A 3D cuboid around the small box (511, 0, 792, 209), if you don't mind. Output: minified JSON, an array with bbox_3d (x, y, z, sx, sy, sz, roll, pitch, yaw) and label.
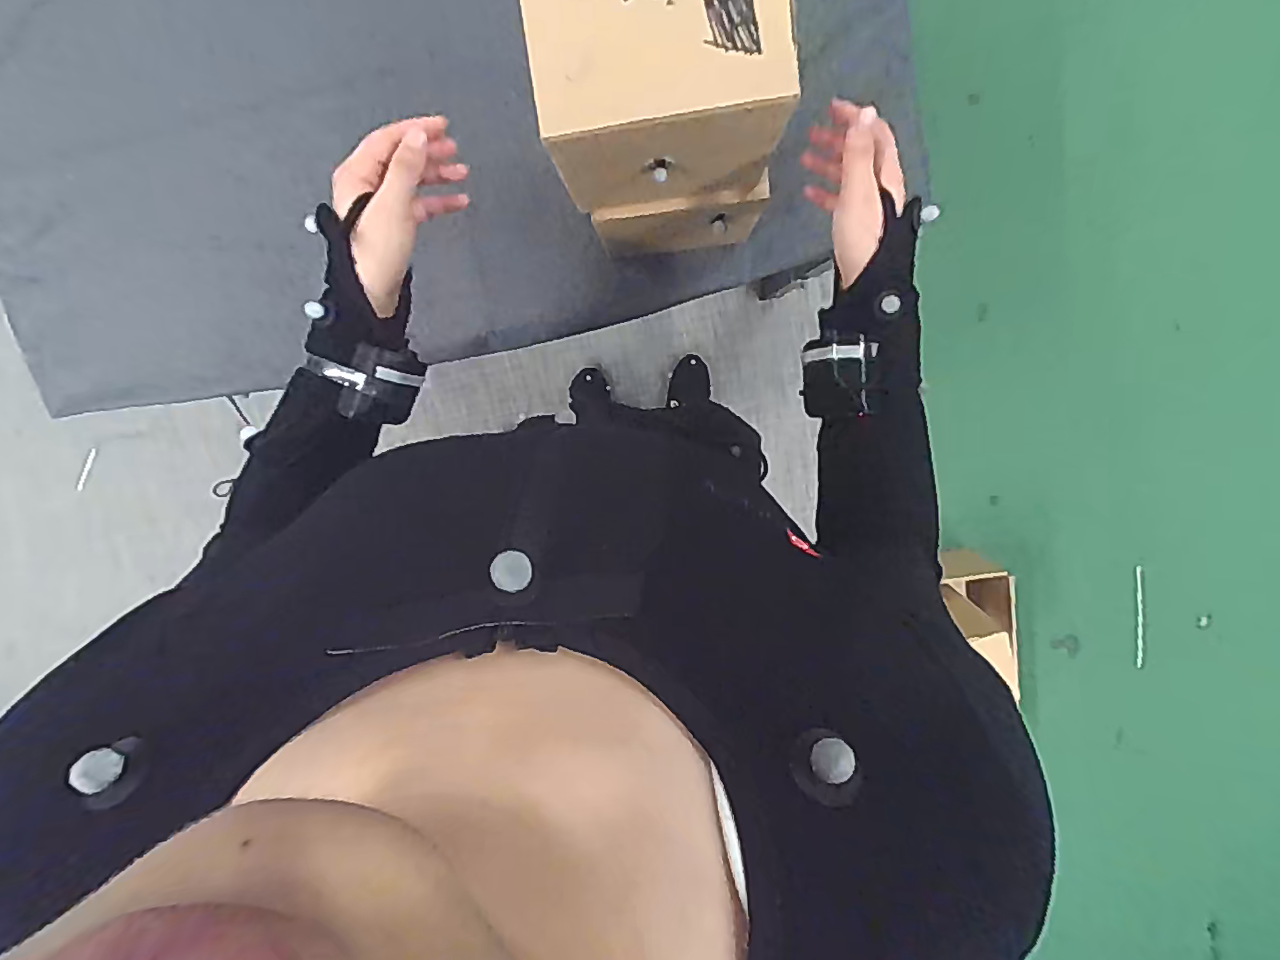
[{"bbox_3d":[0.007,-0.330,0.418,0.179,0.176,0.168,-7,100,5],"label":"small box"}]

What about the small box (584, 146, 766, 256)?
[{"bbox_3d":[0.028,-0.351,0.580,0.179,0.176,0.168,-6,100,4],"label":"small box"}]

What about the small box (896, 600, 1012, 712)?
[{"bbox_3d":[0.722,0.399,1.262,0.168,0.176,0.179,-18,104,7],"label":"small box"}]
